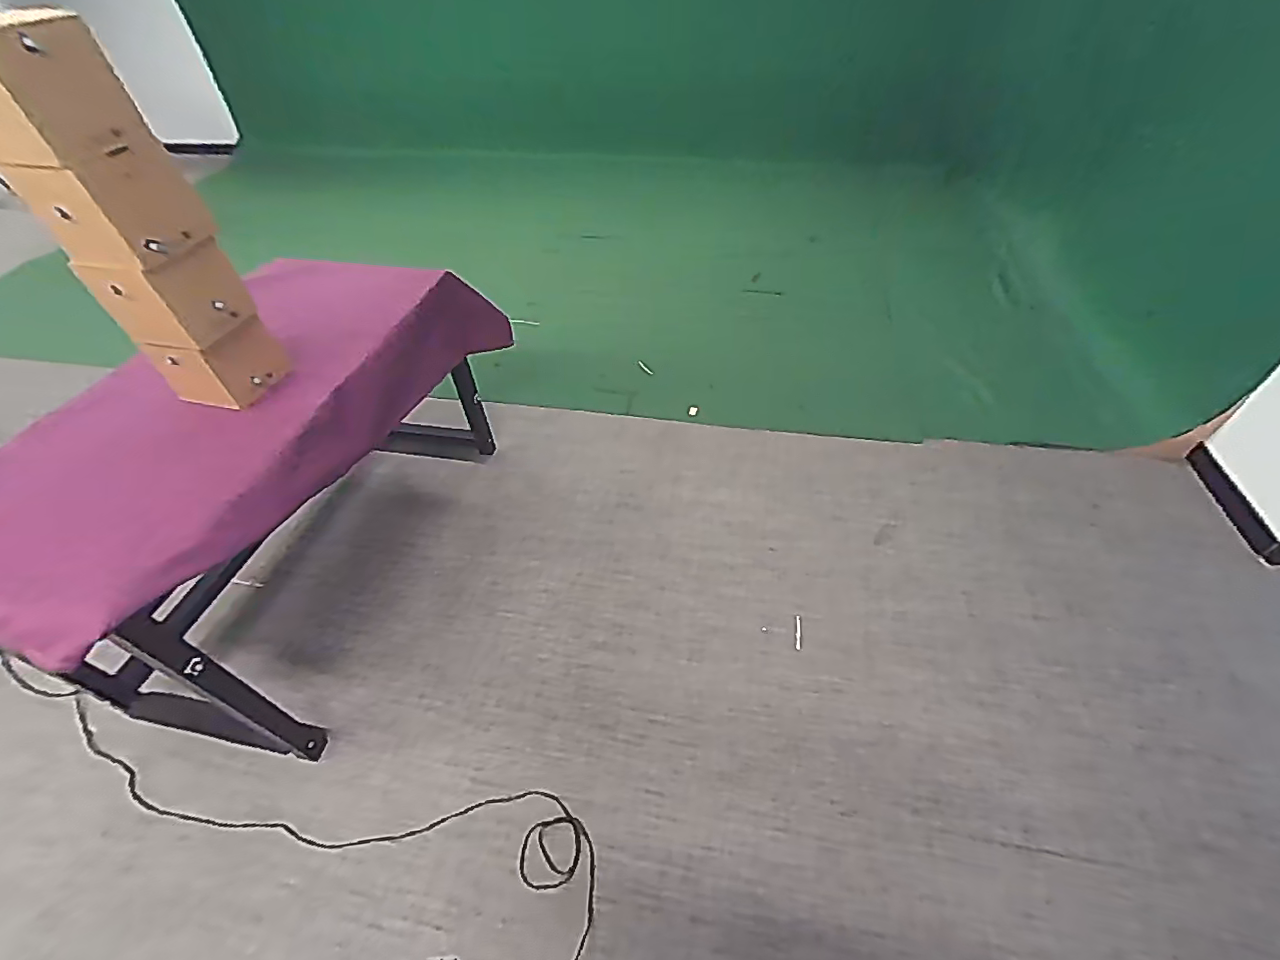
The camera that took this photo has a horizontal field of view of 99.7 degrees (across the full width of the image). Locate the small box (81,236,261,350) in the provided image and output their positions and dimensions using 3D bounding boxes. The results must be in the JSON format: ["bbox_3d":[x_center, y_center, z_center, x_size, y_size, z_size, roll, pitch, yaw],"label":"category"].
[{"bbox_3d":[-0.935,-0.383,1.096,0.179,0.176,0.168,9,49,11],"label":"small box"}]

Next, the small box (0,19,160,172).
[{"bbox_3d":[-0.942,-0.607,0.857,0.179,0.176,0.168,10,49,13],"label":"small box"}]

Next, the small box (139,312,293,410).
[{"bbox_3d":[-0.943,-0.277,1.222,0.179,0.176,0.168,11,49,12],"label":"small box"}]

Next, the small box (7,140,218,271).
[{"bbox_3d":[-0.931,-0.495,0.976,0.179,0.176,0.168,9,49,12],"label":"small box"}]
